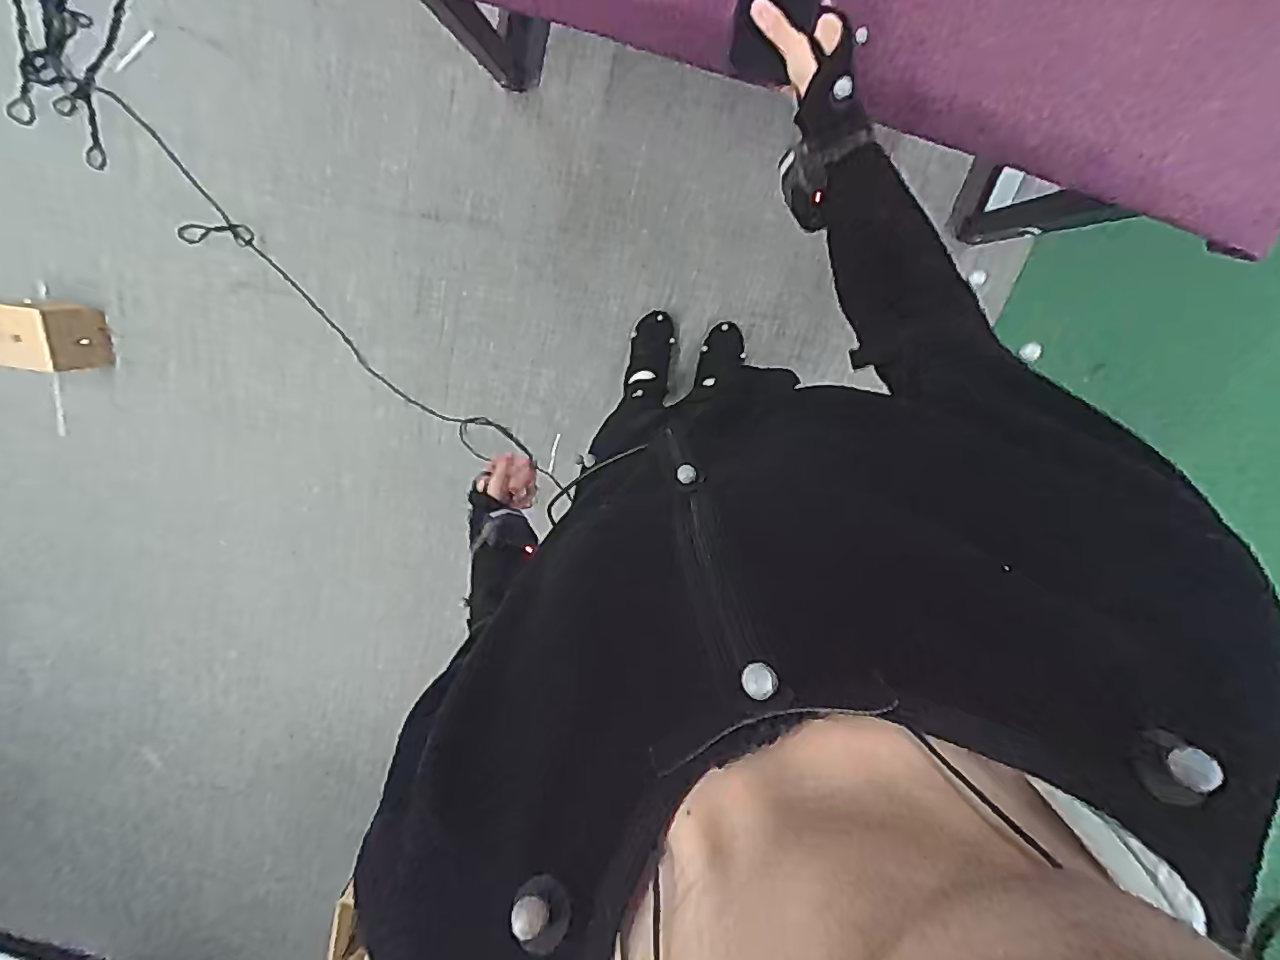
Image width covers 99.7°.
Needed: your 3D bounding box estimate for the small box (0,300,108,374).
[{"bbox_3d":[-1.624,-0.398,1.487,0.179,0.176,0.168,10,110,3],"label":"small box"}]
